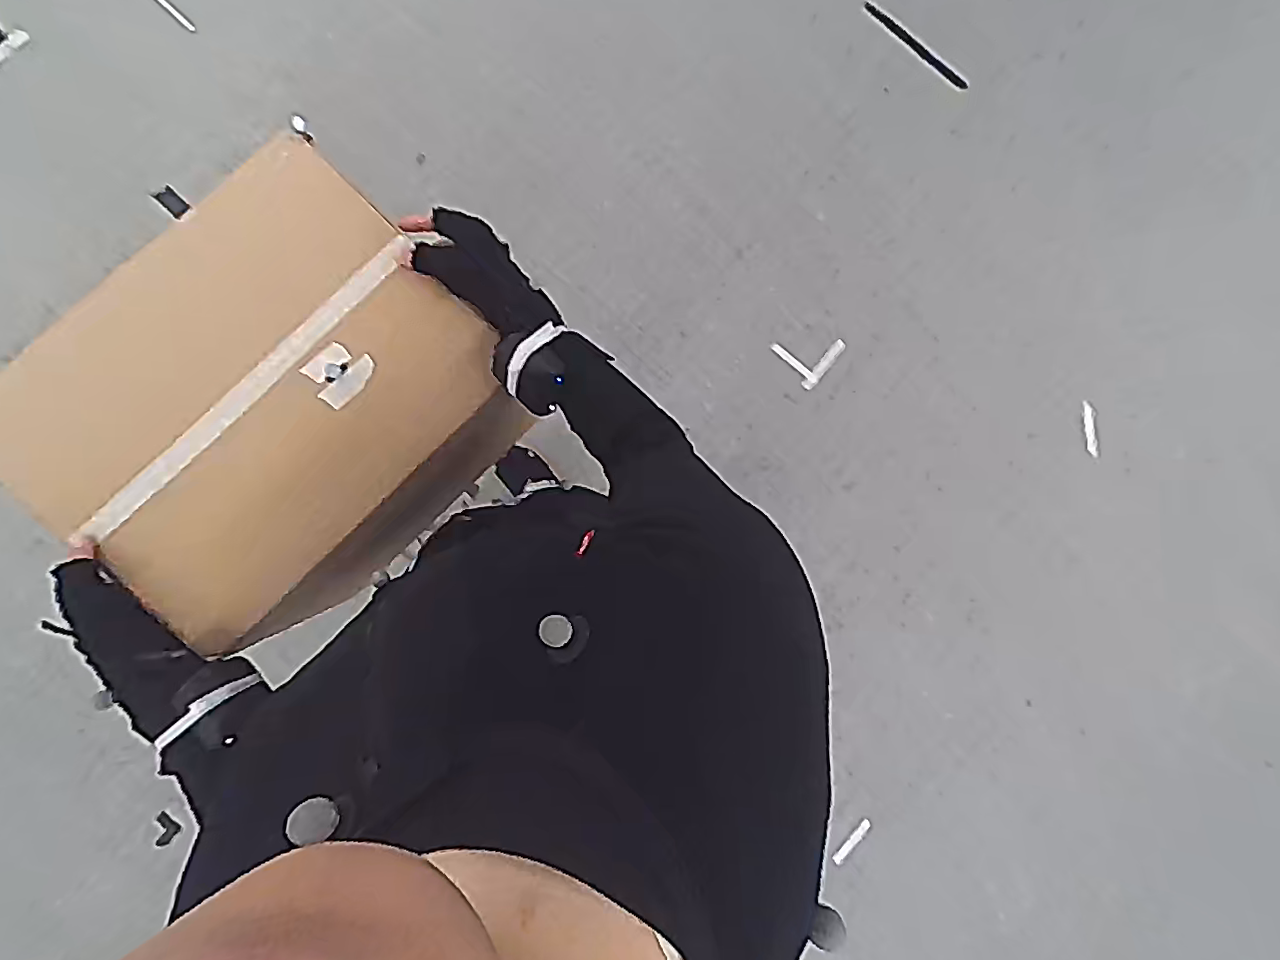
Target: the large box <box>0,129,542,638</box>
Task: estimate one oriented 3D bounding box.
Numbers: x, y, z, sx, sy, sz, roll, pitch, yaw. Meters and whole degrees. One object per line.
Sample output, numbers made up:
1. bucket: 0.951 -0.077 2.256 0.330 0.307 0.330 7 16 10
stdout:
1. large box: -0.373 -0.090 0.660 0.320 0.320 0.408 45 83 -4
